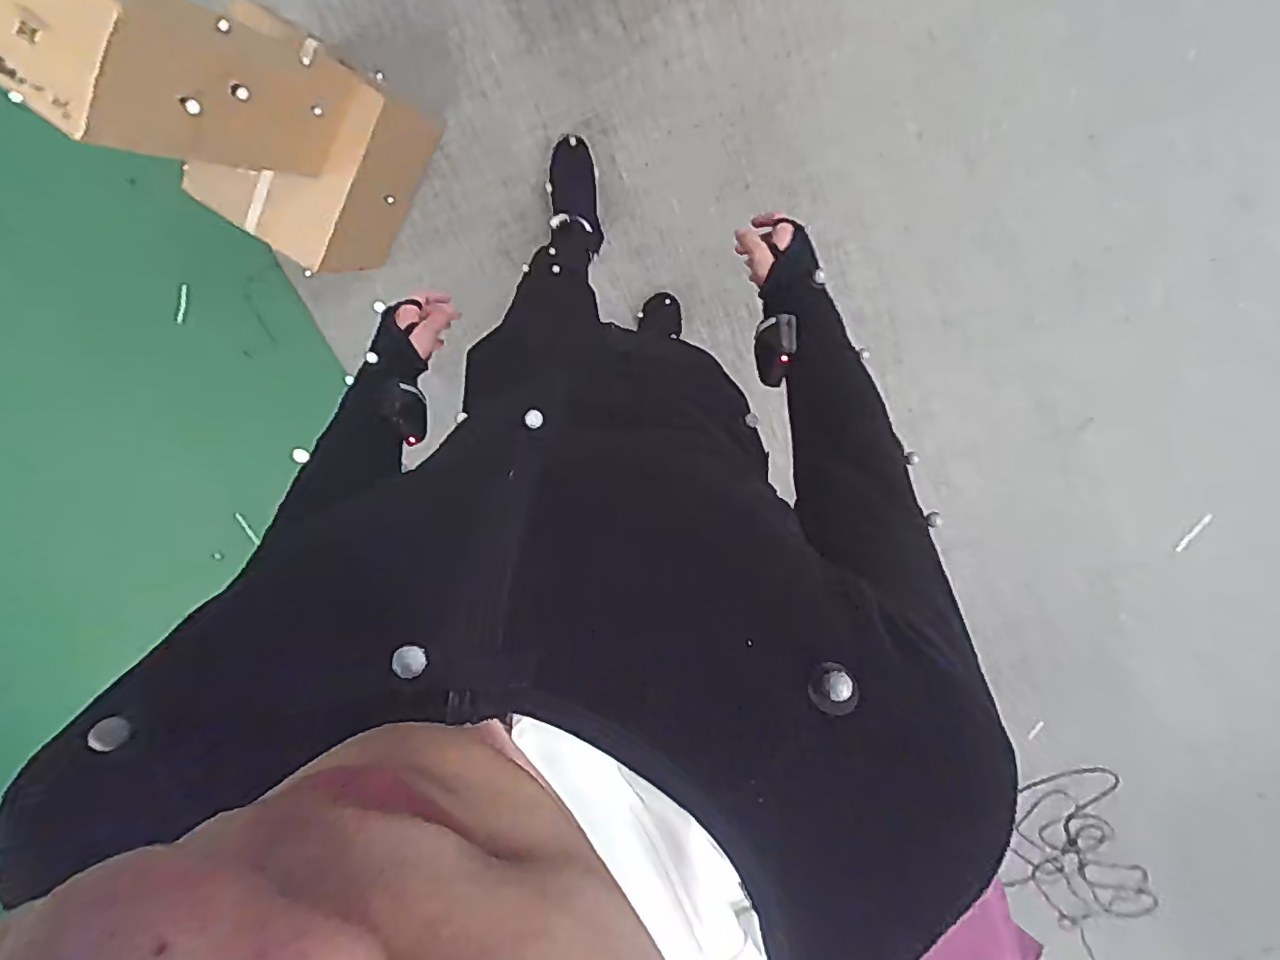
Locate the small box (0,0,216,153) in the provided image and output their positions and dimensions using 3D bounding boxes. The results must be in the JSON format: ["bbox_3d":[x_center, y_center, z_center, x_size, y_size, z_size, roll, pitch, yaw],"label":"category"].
[{"bbox_3d":[-0.708,-0.566,0.702,0.168,0.176,0.179,37,110,-13],"label":"small box"}]

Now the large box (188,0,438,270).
[{"bbox_3d":[-0.731,-0.761,1.247,0.320,0.320,0.408,33,113,-10],"label":"large box"}]

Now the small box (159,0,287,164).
[{"bbox_3d":[-0.703,-0.635,0.851,0.168,0.176,0.179,37,111,-12],"label":"small box"}]
